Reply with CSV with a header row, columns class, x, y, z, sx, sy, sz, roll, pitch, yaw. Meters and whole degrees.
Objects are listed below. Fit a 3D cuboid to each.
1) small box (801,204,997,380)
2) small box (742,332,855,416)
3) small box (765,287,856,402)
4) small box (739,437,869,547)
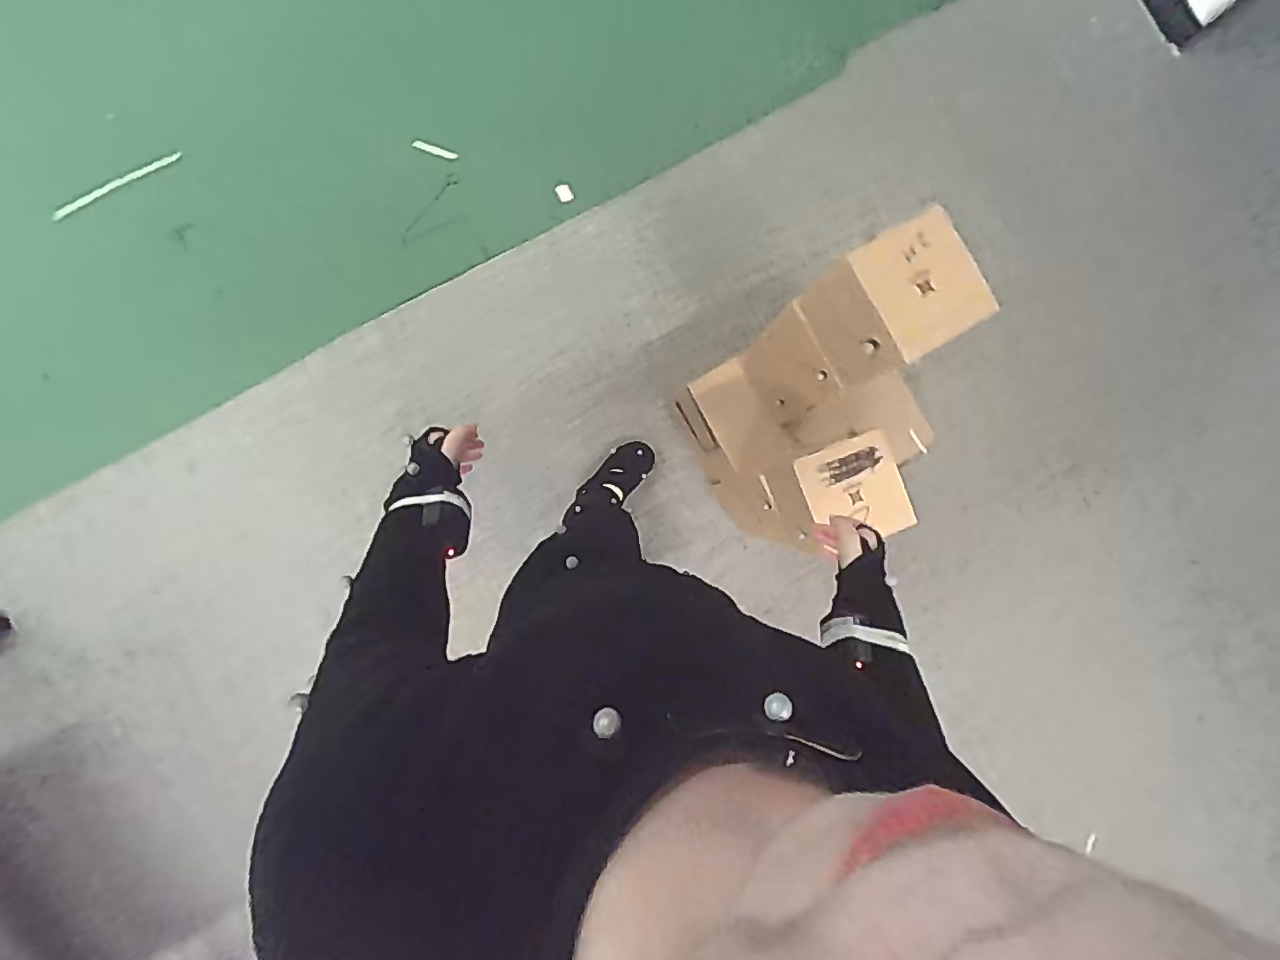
class,x,y,z,sx,sy,sz,roll,pitch,yaw
small box,0.379,-0.269,0.823,0.168,0.176,0.179,-29,90,-7
small box,0.343,-0.250,1.147,0.168,0.176,0.179,-32,89,-6
small box,0.356,-0.265,0.986,0.168,0.176,0.179,-31,91,-7
small box,0.334,0.023,1.132,0.179,0.176,0.168,-26,90,-5
